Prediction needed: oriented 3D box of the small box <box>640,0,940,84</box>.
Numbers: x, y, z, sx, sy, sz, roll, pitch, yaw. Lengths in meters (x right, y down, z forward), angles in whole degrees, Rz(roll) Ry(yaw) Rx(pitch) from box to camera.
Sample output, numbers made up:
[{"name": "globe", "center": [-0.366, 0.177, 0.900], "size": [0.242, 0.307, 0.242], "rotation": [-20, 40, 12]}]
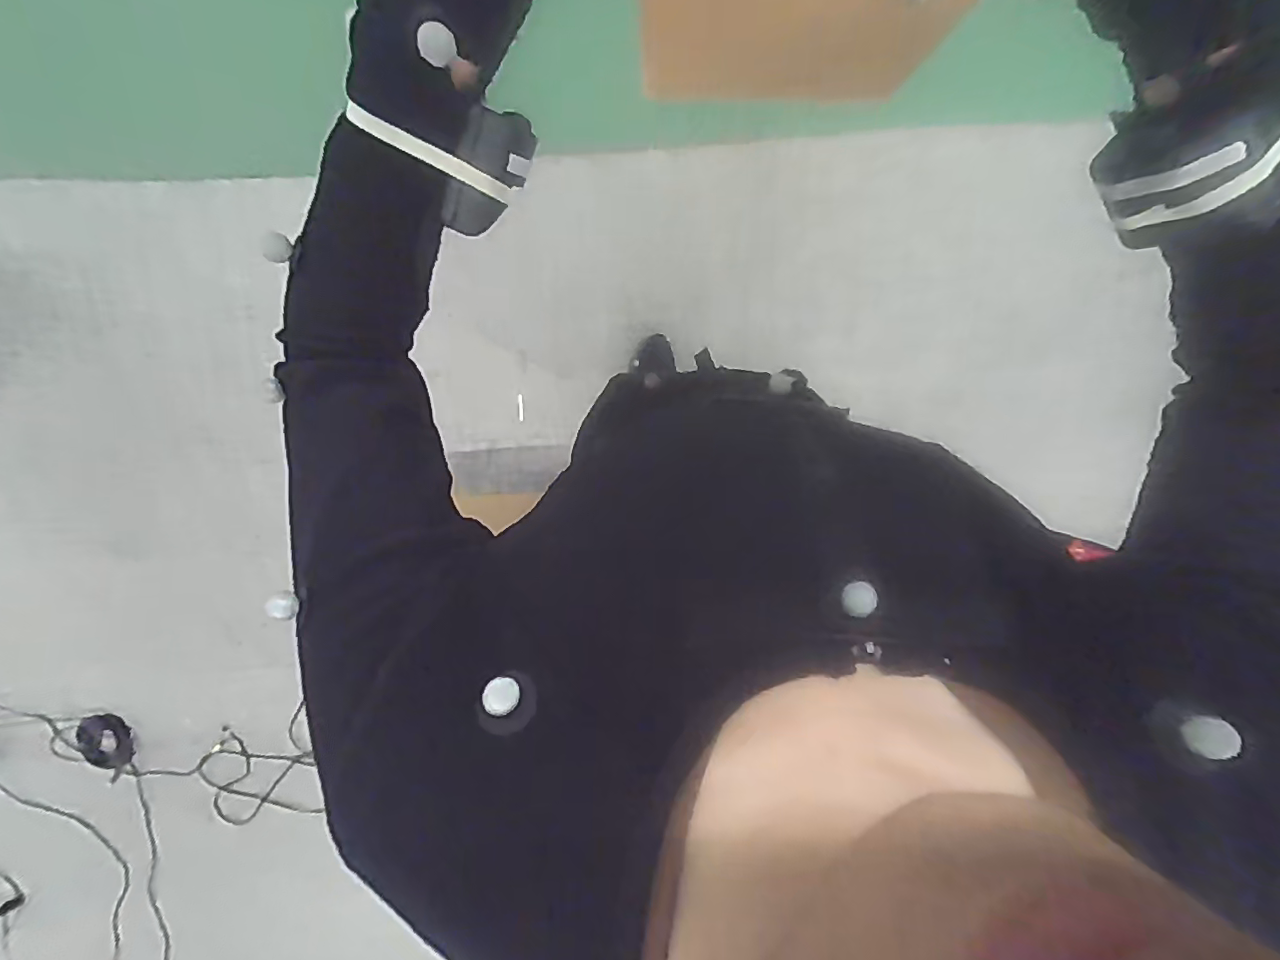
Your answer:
[{"name": "small box", "center": [0.087, -0.340, 0.286], "size": [0.179, 0.176, 0.168], "rotation": [1, 104, 1]}]
